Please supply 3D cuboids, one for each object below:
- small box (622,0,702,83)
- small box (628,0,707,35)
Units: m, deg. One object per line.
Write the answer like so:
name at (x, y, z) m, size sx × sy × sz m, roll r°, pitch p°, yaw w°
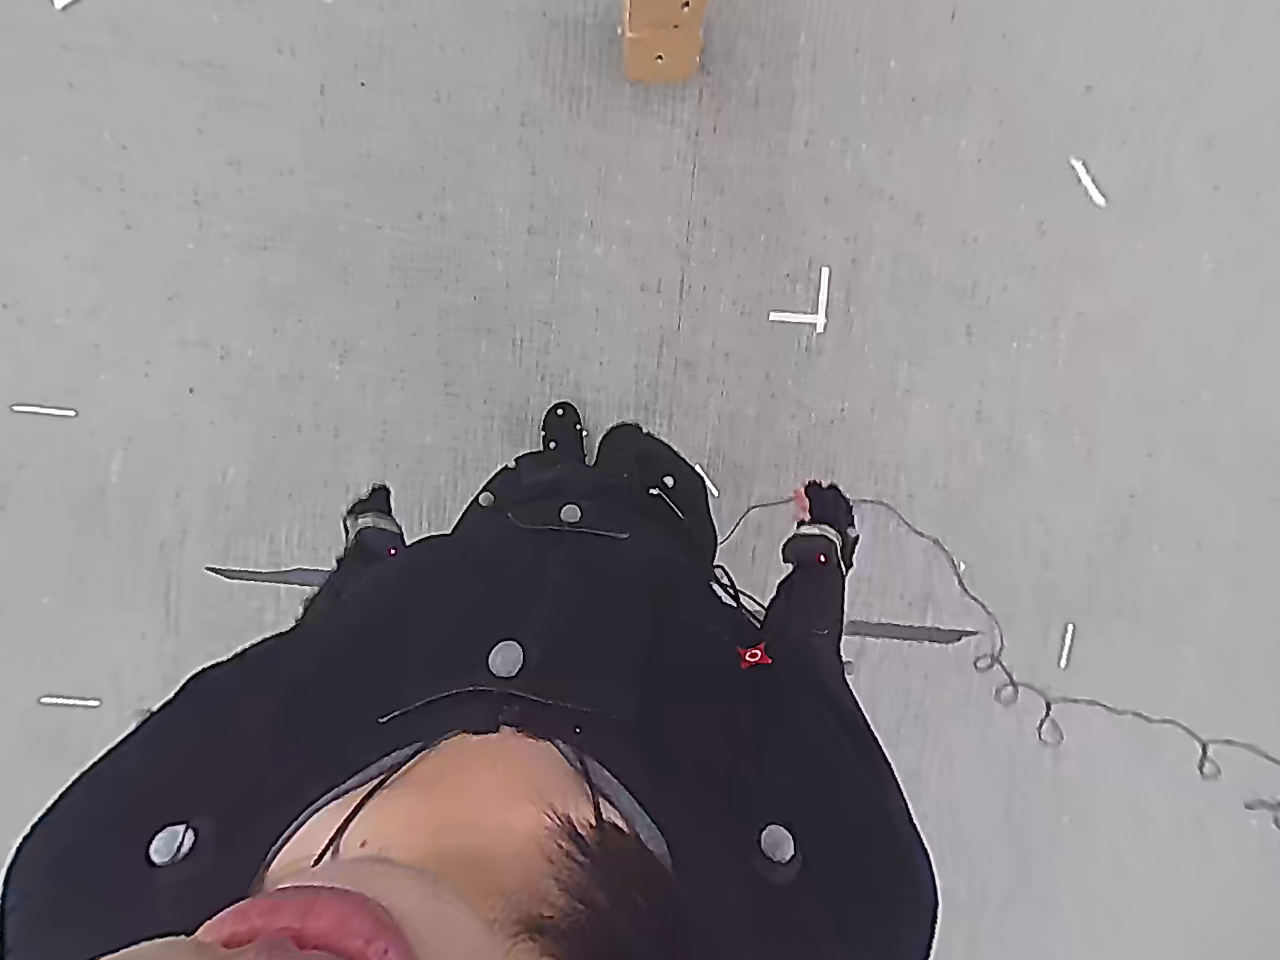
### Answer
small box at (0.048, -1.087, 1.293) m, size 0.179 × 0.176 × 0.168 m, roll -3°, pitch 97°, yaw -2°
small box at (0.062, -1.081, 1.131) m, size 0.168 × 0.176 × 0.179 m, roll 0°, pitch 96°, yaw -5°
